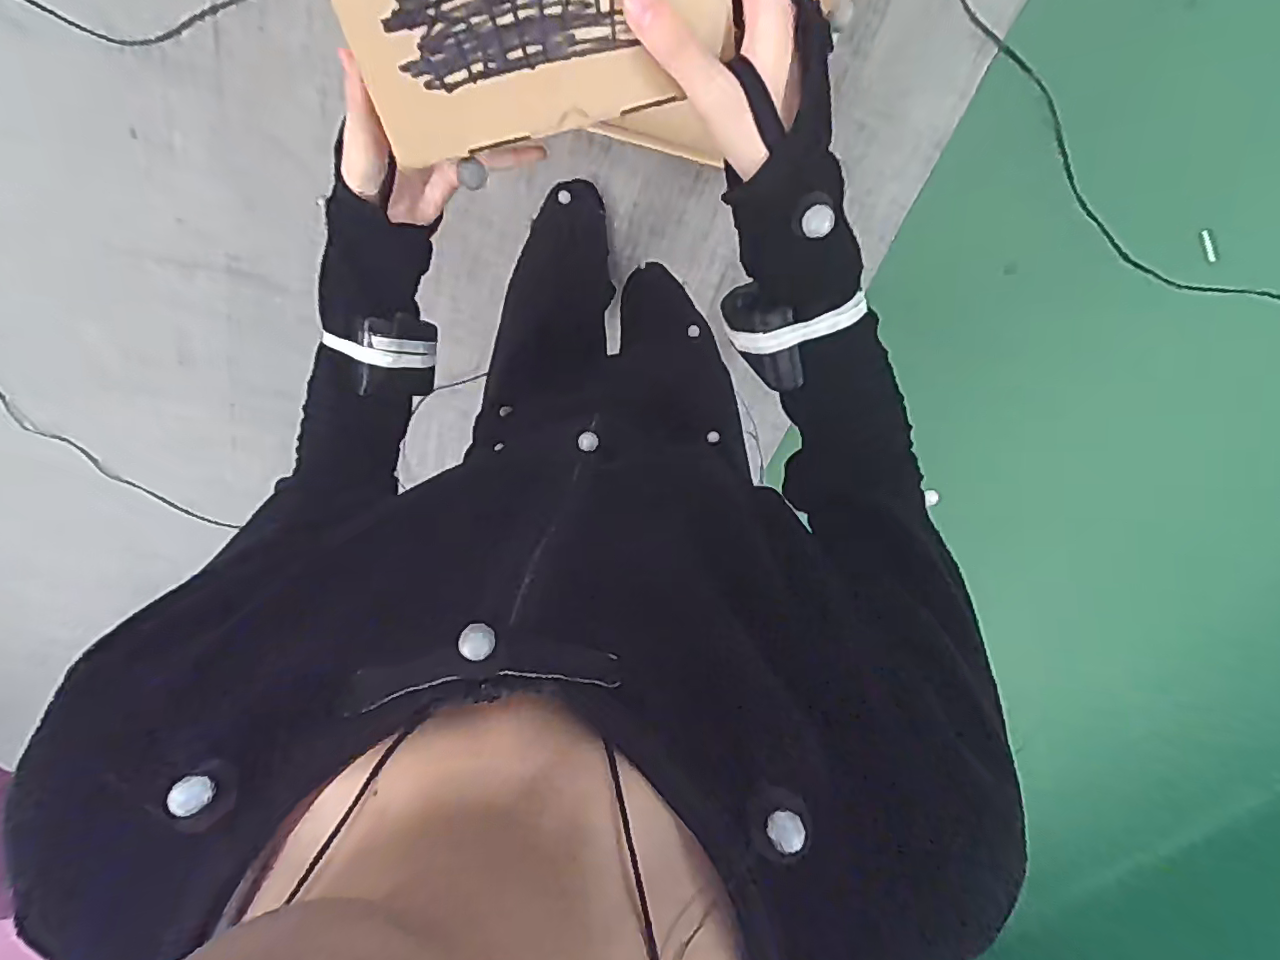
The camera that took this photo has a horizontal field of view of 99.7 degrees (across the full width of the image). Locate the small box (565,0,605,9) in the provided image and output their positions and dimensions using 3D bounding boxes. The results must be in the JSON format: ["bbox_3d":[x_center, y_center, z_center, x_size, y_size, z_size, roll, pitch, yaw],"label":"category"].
[{"bbox_3d":[-0.124,-0.820,0.784,0.179,0.176,0.168,10,124,-11],"label":"small box"}]
